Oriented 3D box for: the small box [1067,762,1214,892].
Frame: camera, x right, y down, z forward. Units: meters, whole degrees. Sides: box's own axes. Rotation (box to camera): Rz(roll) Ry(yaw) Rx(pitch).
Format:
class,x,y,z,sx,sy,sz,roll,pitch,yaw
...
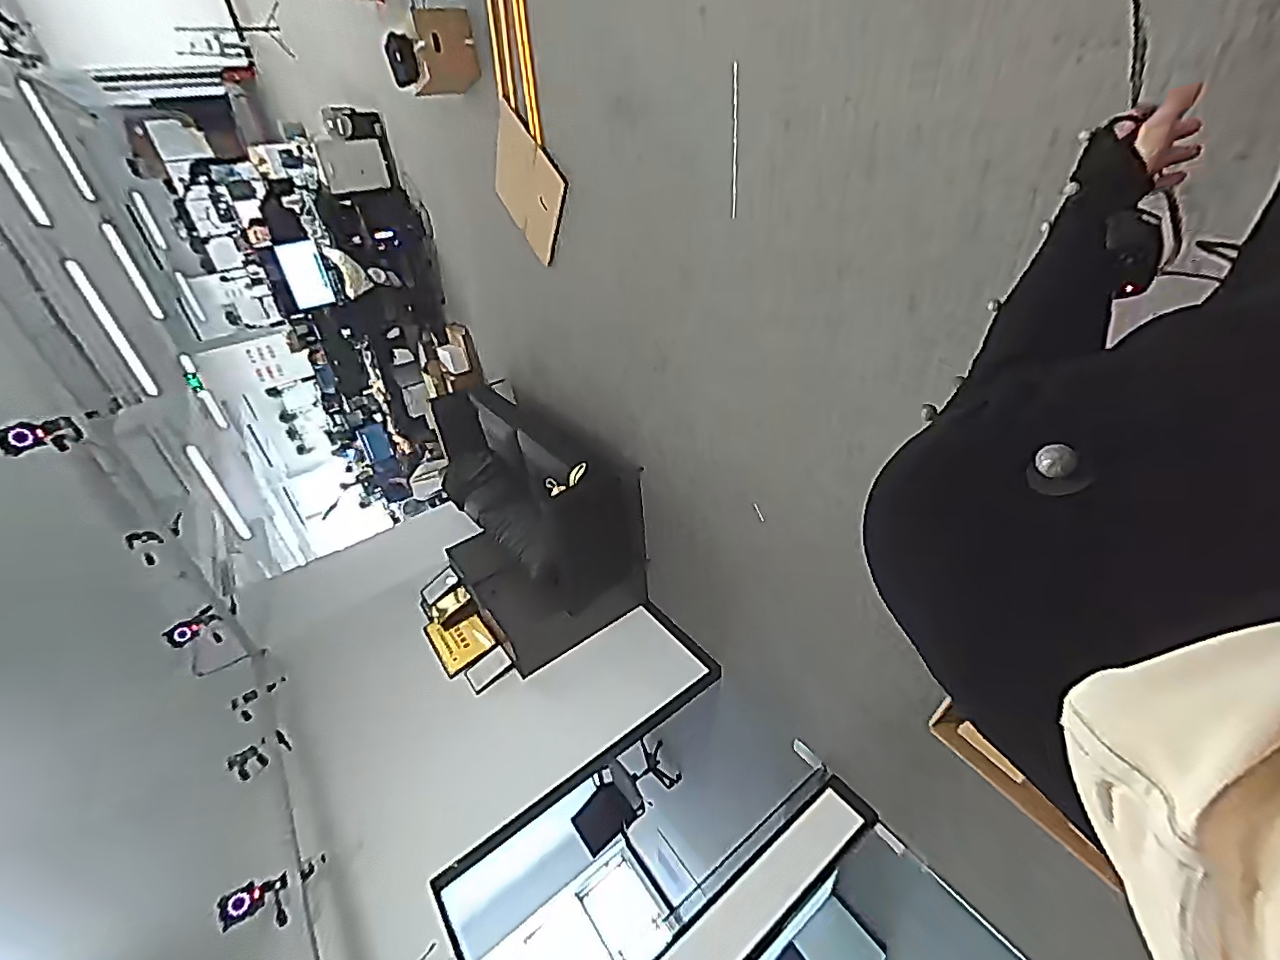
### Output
class,x,y,z,sx,sy,sz,roll,pitch,yaw
small box,1.178,0.813,1.274,0.179,0.176,0.168,42,146,35
